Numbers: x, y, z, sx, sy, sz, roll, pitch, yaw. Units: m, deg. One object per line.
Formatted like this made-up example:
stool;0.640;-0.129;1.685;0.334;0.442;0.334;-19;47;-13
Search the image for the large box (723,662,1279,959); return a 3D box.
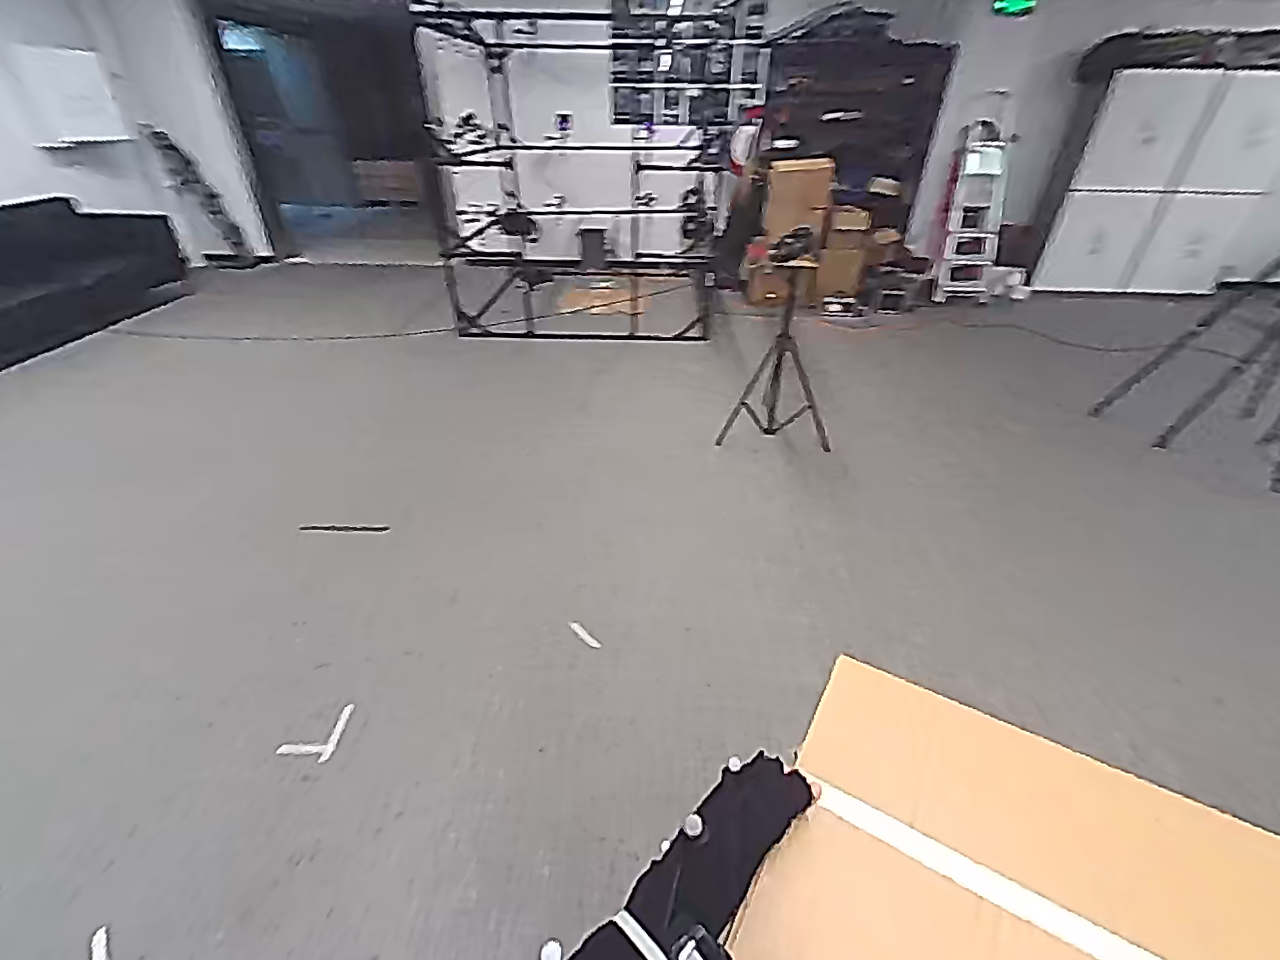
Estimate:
large box;0.309;0.450;0.499;0.408;0.320;0.320;18;41;27
